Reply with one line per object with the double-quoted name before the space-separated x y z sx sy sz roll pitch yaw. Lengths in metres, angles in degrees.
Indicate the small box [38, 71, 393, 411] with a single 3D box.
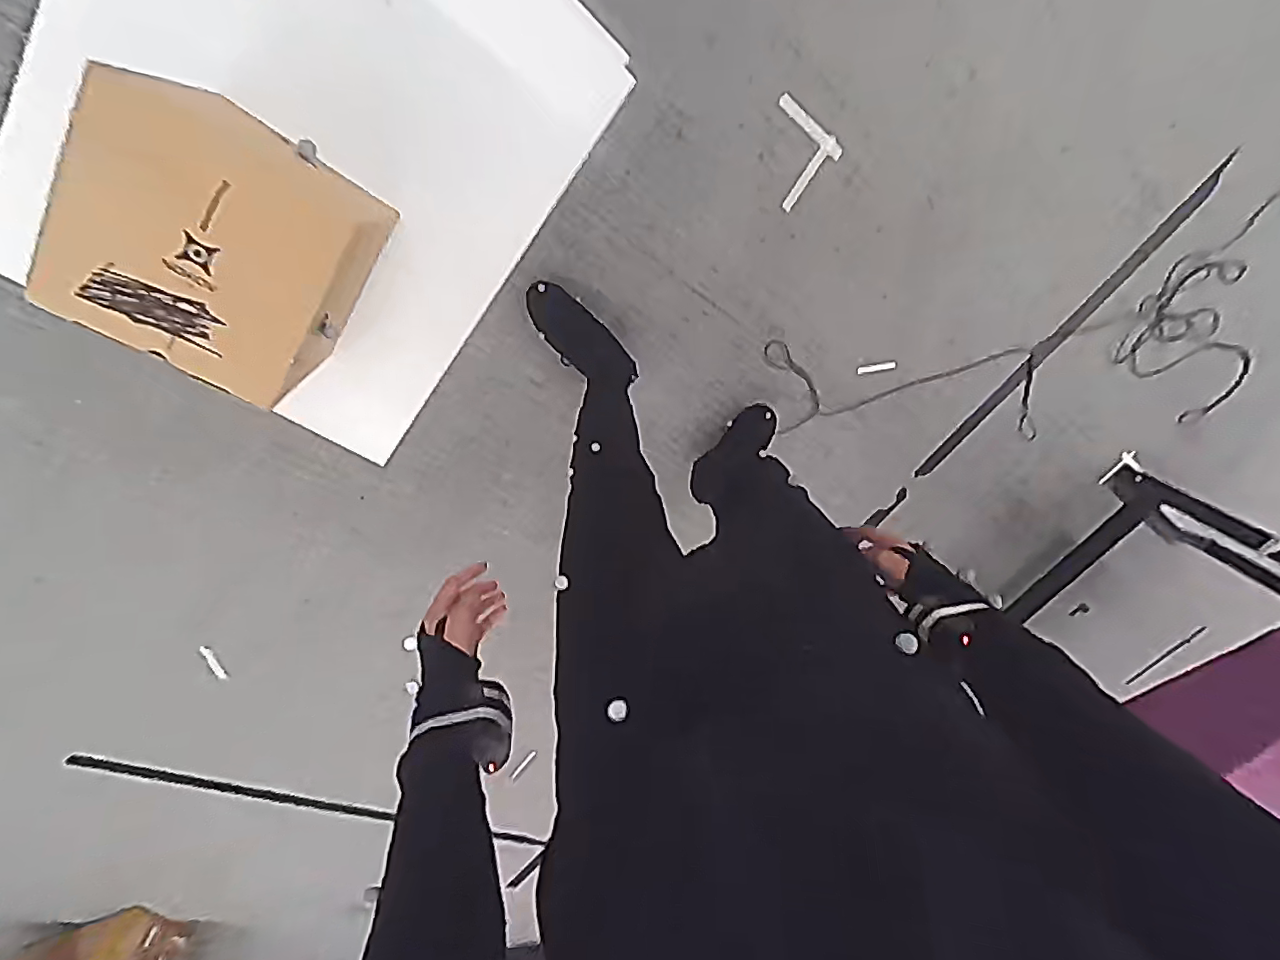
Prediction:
"small box" -0.337 -0.196 0.467 0.168 0.176 0.179 29 109 -25
